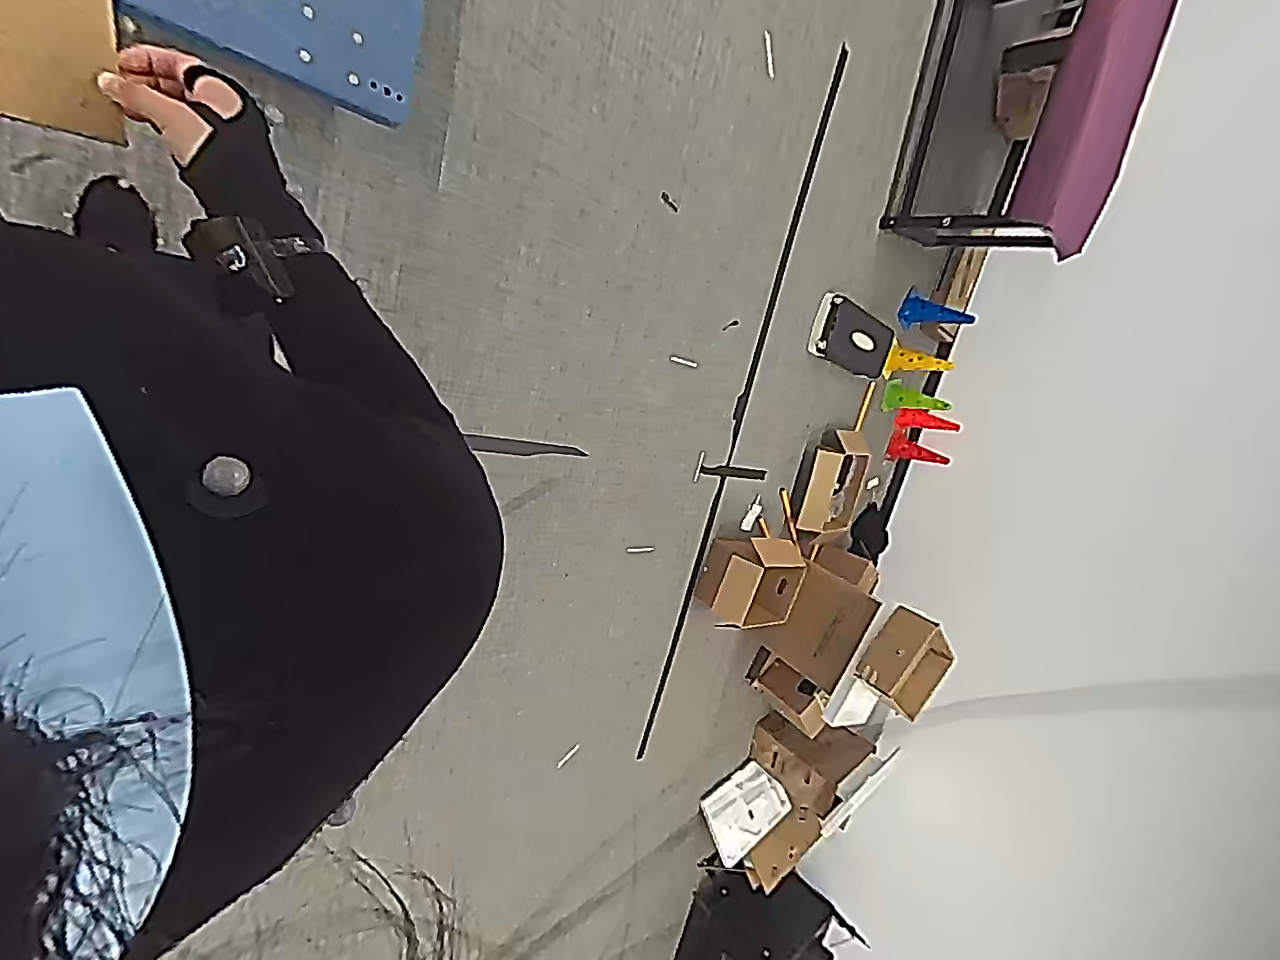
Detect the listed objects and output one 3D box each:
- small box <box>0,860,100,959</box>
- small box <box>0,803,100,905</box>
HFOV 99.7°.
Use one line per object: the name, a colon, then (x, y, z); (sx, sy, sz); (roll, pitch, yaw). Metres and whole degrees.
small box: (-1.216, 0.931, 1.092); (0.168, 0.176, 0.179); (4, 105, -45)
small box: (-1.327, 0.872, 1.197); (0.168, 0.176, 0.179); (-12, 117, -41)
